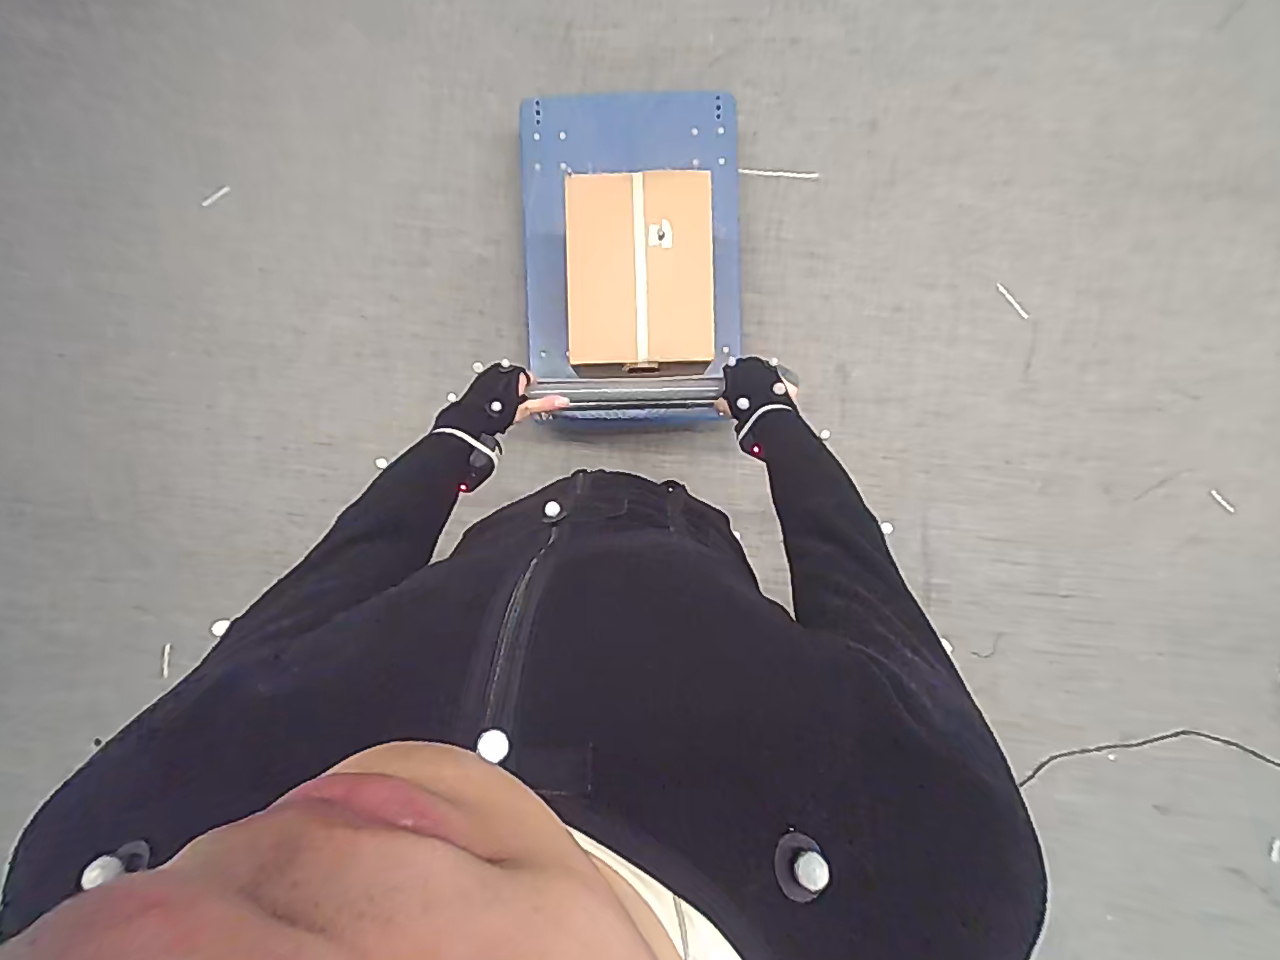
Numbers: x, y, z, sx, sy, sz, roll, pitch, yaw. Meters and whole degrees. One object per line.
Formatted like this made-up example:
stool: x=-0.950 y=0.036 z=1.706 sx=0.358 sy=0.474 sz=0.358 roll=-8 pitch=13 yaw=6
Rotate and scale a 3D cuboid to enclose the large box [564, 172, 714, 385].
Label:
large box: x=0.000 y=-0.458 z=1.308 sx=0.320 sy=0.320 sz=0.408 roll=-1 pitch=91 yaw=0
